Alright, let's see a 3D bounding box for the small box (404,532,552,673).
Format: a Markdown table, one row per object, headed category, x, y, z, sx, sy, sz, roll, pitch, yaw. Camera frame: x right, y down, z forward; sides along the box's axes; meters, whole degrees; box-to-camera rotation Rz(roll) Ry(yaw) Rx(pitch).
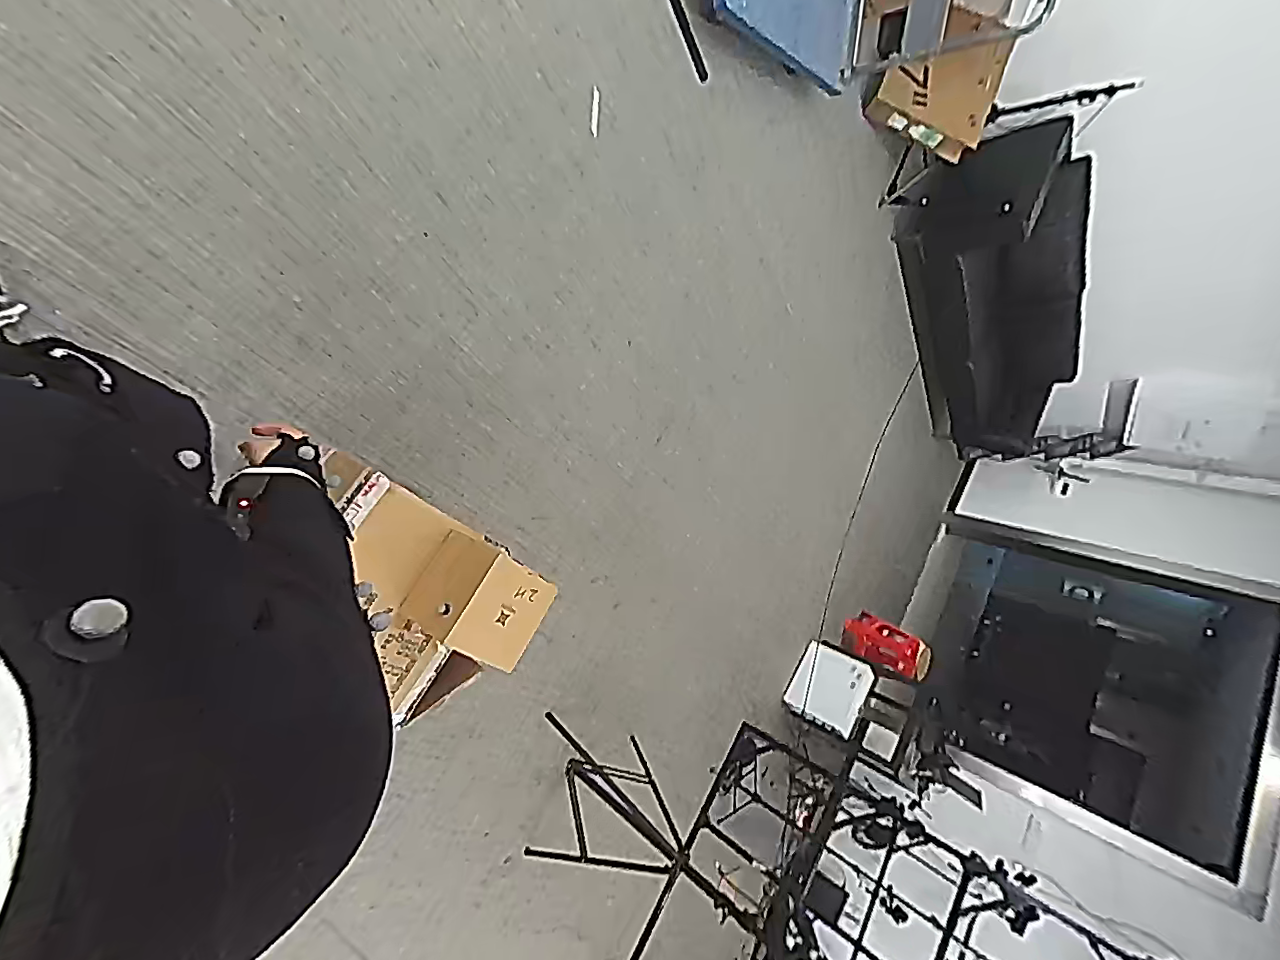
| category | x | y | z | sx | sy | sz | roll | pitch | yaw |
| --- | --- | --- | --- | --- | --- | --- | --- | --- | --- |
| small box | -0.304 | 0.220 | 0.996 | 0.168 | 0.176 | 0.179 | 48 | 65 | -43 |
